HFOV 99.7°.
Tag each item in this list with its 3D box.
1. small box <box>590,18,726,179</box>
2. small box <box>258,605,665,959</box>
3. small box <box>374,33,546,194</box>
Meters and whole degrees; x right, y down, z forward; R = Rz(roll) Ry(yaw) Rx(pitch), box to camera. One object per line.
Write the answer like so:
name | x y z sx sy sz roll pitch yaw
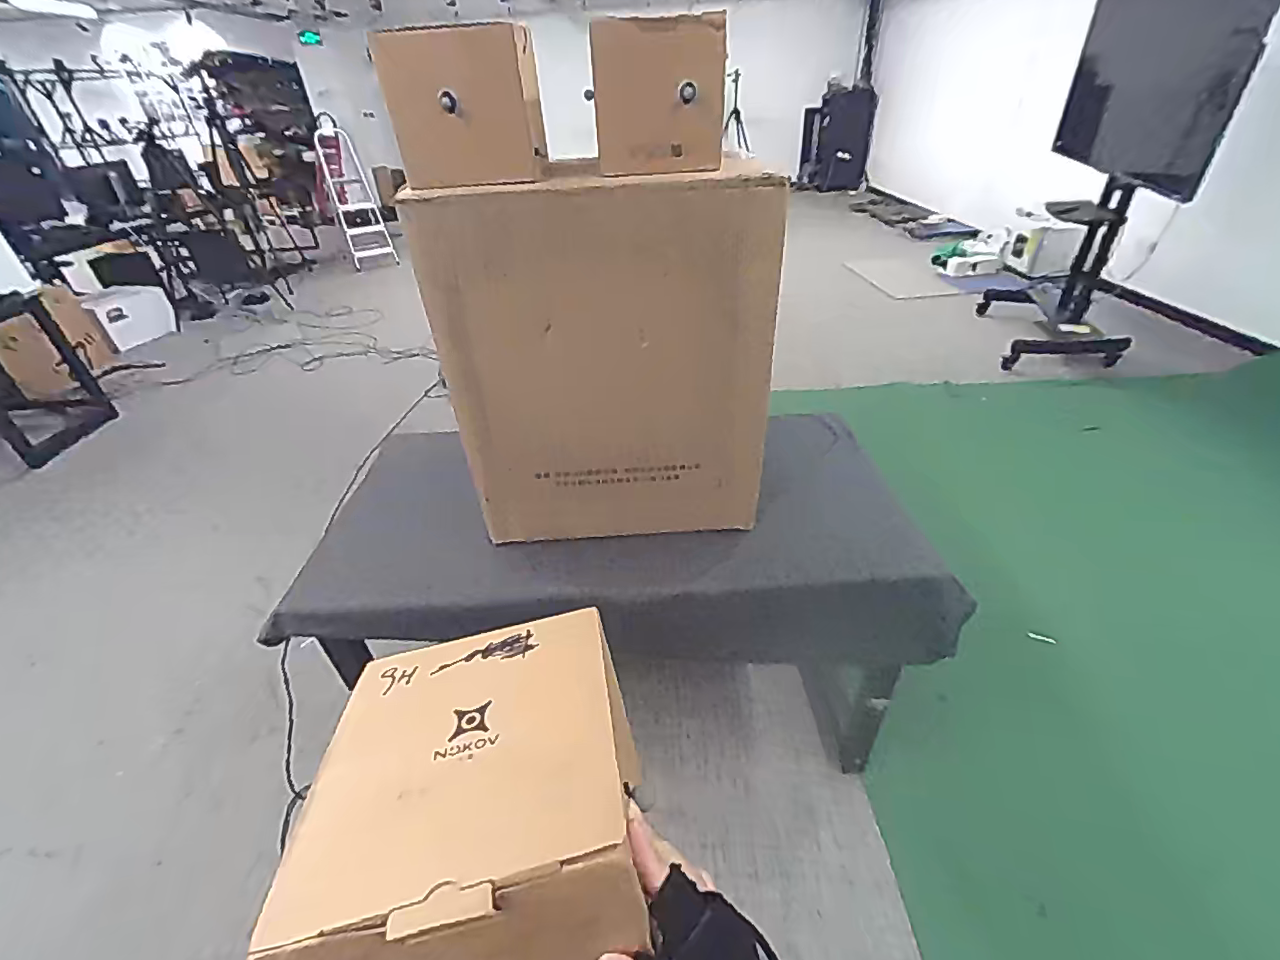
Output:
small box | 0.024 -0.522 0.750 0.168 0.176 0.179 -2 37 0
small box | -0.087 0.216 0.349 0.168 0.176 0.179 -13 26 -4
small box | -0.227 -0.503 0.742 0.179 0.176 0.168 -4 39 -3
